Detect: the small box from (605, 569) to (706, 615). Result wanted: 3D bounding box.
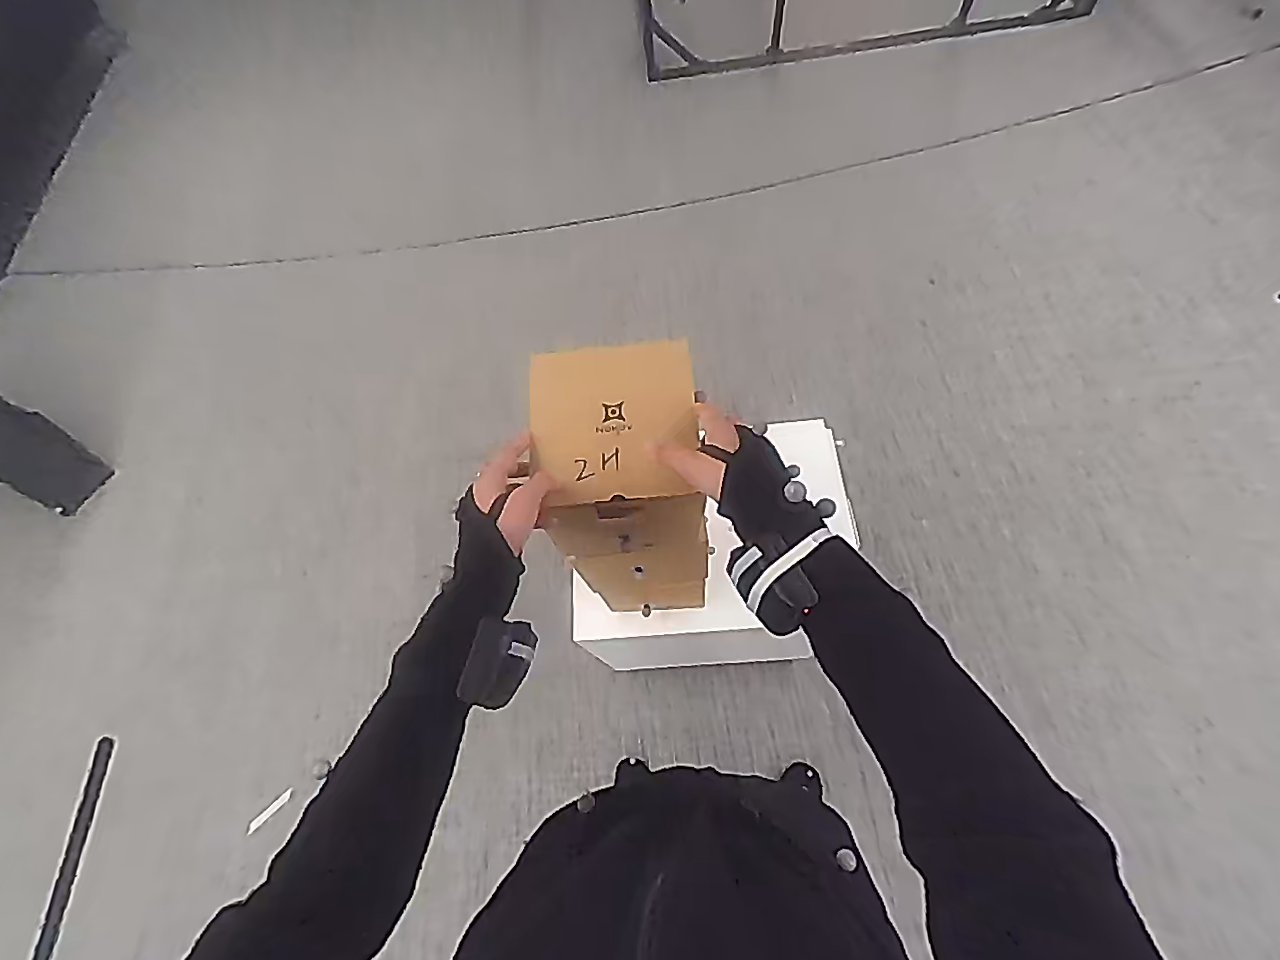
[{"bbox_3d":[0.022,0.120,0.909,0.168,0.176,0.179,-4,65,4],"label":"small box"}]

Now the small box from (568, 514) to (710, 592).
[{"bbox_3d":[0.000,0.052,0.762,0.179,0.176,0.168,-8,64,4],"label":"small box"}]

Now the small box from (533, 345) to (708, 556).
[{"bbox_3d":[-0.019,-0.025,0.604,0.168,0.176,0.179,-5,68,2],"label":"small box"}]
